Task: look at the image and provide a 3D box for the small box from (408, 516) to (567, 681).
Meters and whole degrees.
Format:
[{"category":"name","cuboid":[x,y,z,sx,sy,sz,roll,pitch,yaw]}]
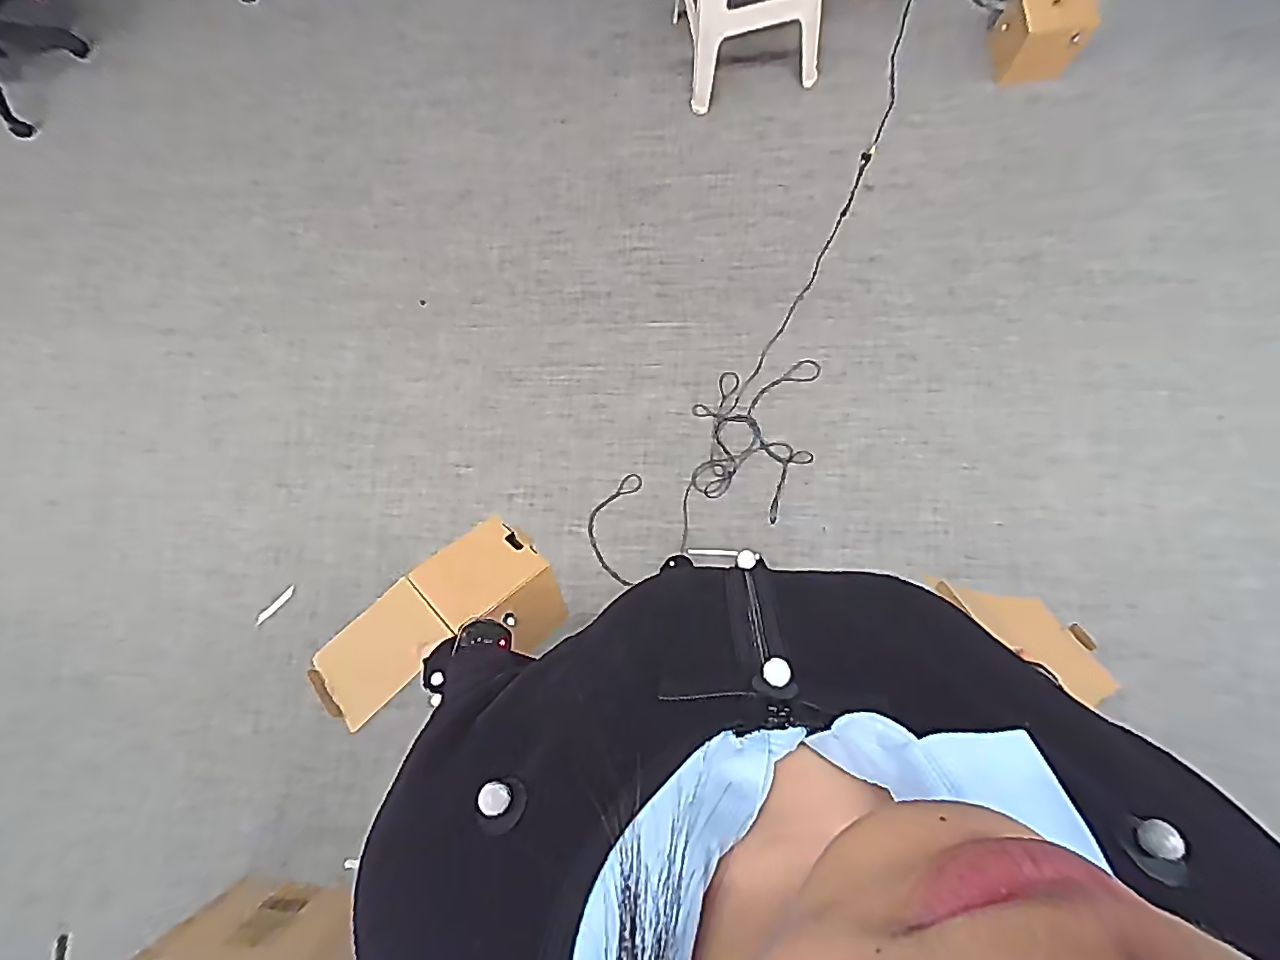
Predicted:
[{"category":"small box","cuboid":[-0.248,0.201,0.914,0.179,0.176,0.168,-37,50,-27]}]
